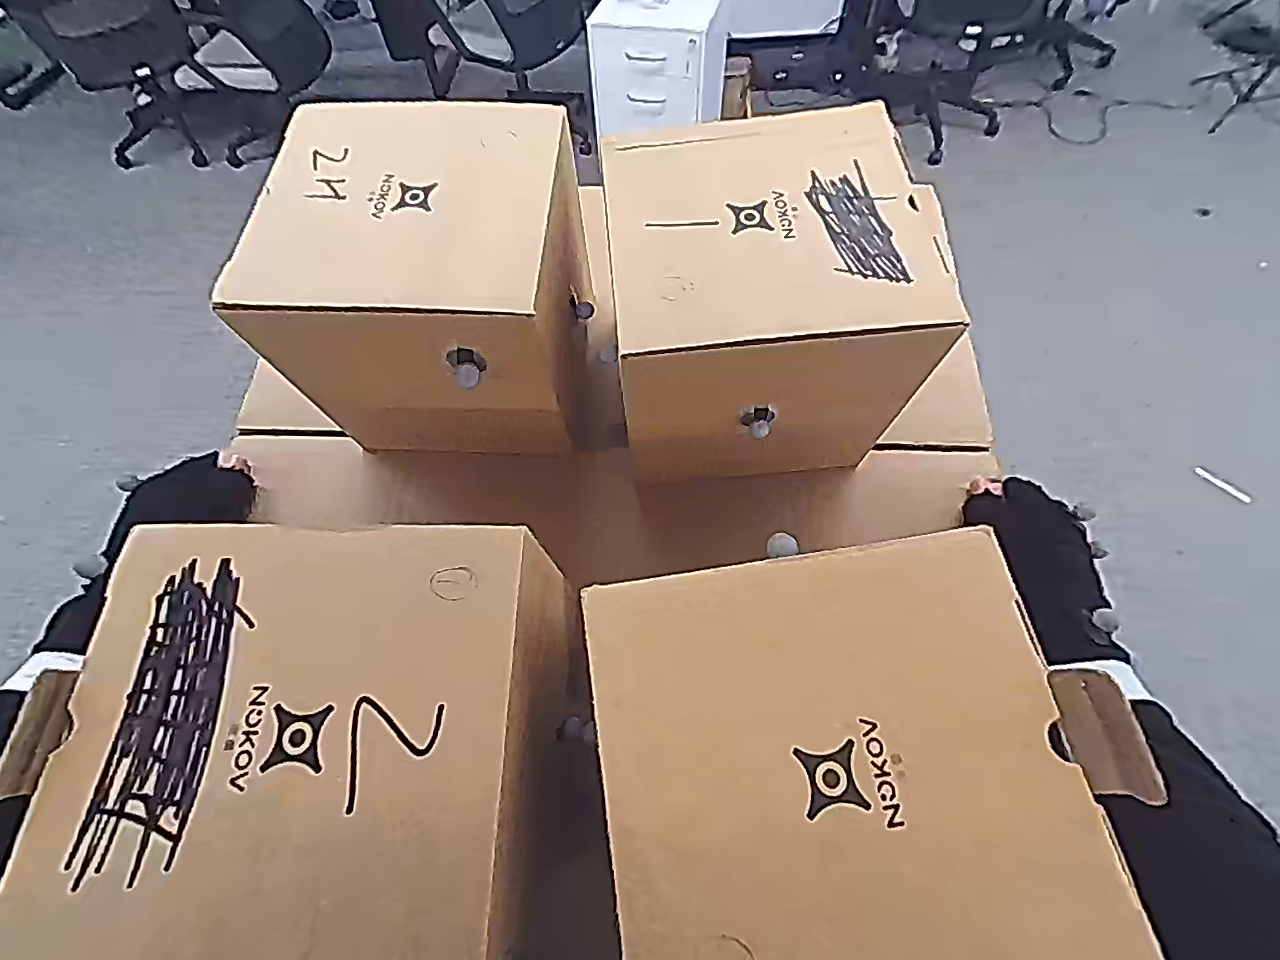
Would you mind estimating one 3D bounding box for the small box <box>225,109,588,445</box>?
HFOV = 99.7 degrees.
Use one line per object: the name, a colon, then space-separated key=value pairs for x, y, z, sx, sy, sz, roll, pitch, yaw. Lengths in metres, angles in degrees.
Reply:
small box: x=-0.138 y=-0.135 z=0.400 sx=0.179 sy=0.176 sz=0.168 roll=2 pitch=66 yaw=4
